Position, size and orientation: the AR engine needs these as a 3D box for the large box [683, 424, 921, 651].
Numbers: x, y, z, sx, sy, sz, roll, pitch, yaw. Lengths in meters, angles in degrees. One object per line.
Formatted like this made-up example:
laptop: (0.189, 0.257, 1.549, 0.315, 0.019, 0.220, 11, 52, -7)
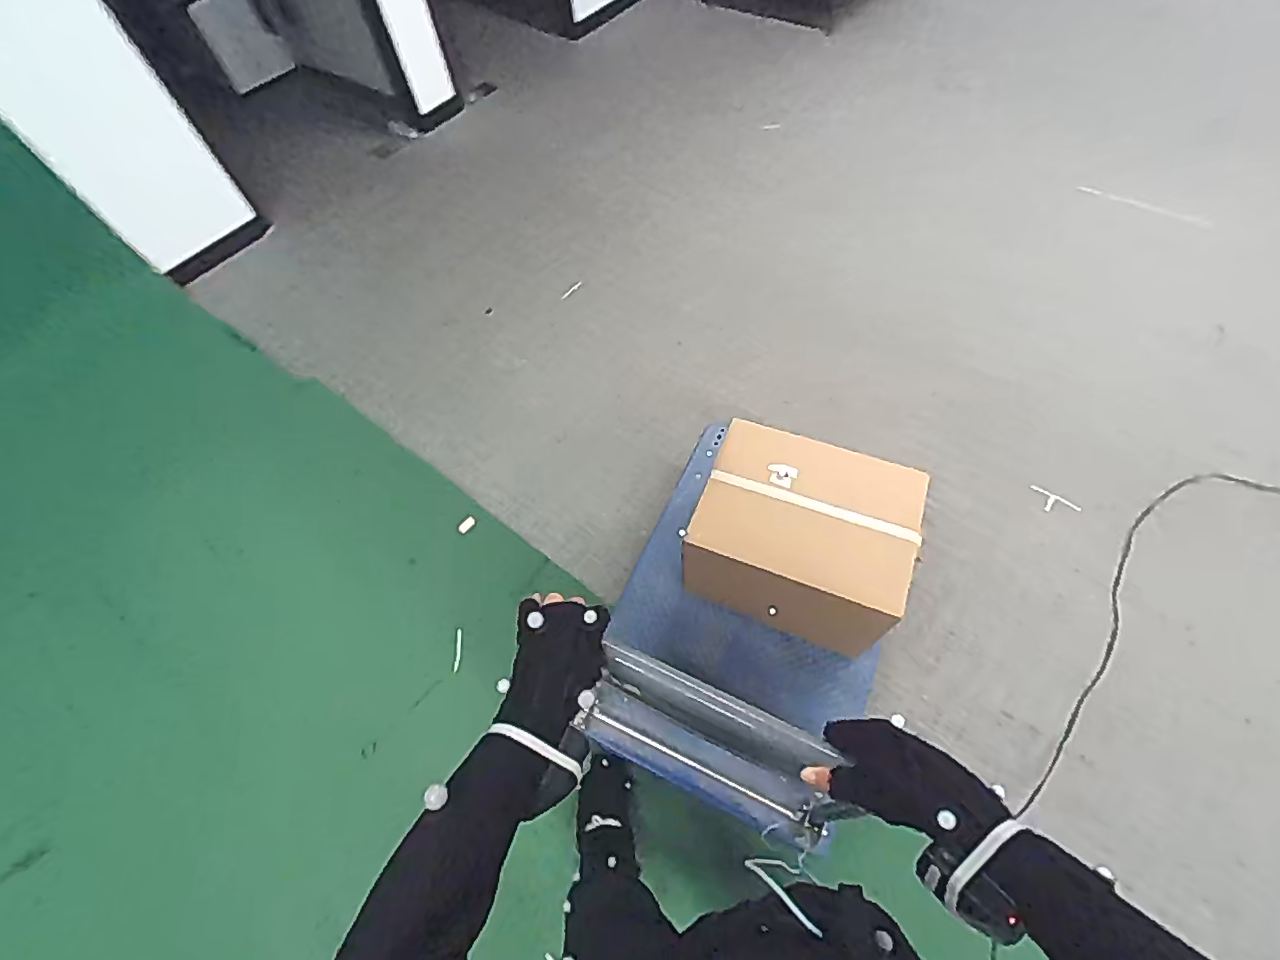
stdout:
large box: (0.335, 0.131, 1.179, 0.408, 0.320, 0.320, 17, 61, 15)
